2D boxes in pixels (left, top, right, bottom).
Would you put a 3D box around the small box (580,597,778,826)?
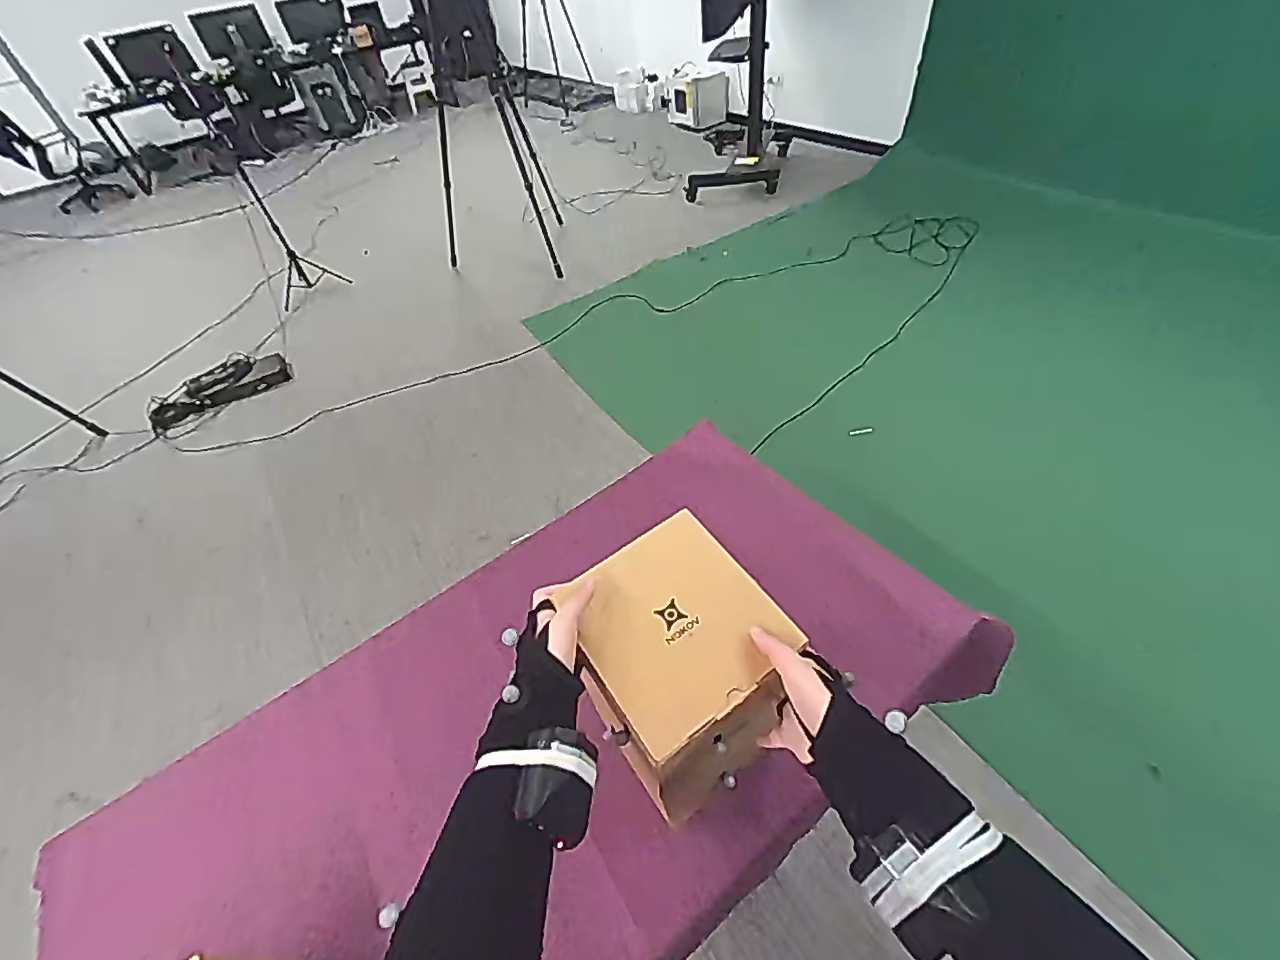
[{"bbox_3d":[0.049,0.289,0.677,0.168,0.176,0.179,-31,50,-18],"label":"small box"}]
